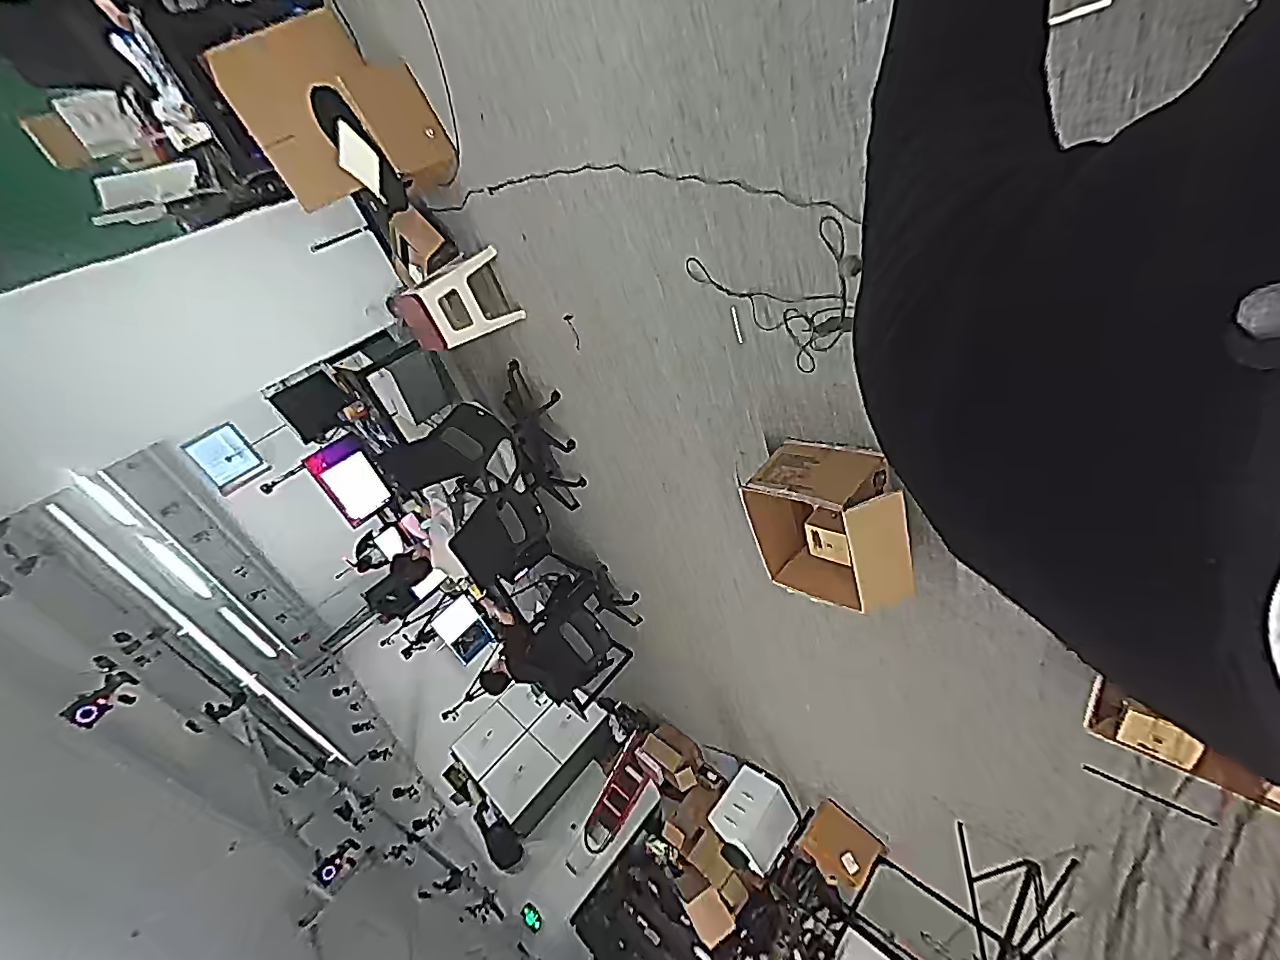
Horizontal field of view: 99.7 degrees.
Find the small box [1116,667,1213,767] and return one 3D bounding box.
[{"bbox_3d":[1.529,0.682,1.577,0.168,0.176,0.179,19,138,42],"label":"small box"}]

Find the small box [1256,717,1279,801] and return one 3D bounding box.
[{"bbox_3d":[1.724,0.733,1.367,0.179,0.176,0.168,19,138,45],"label":"small box"}]
